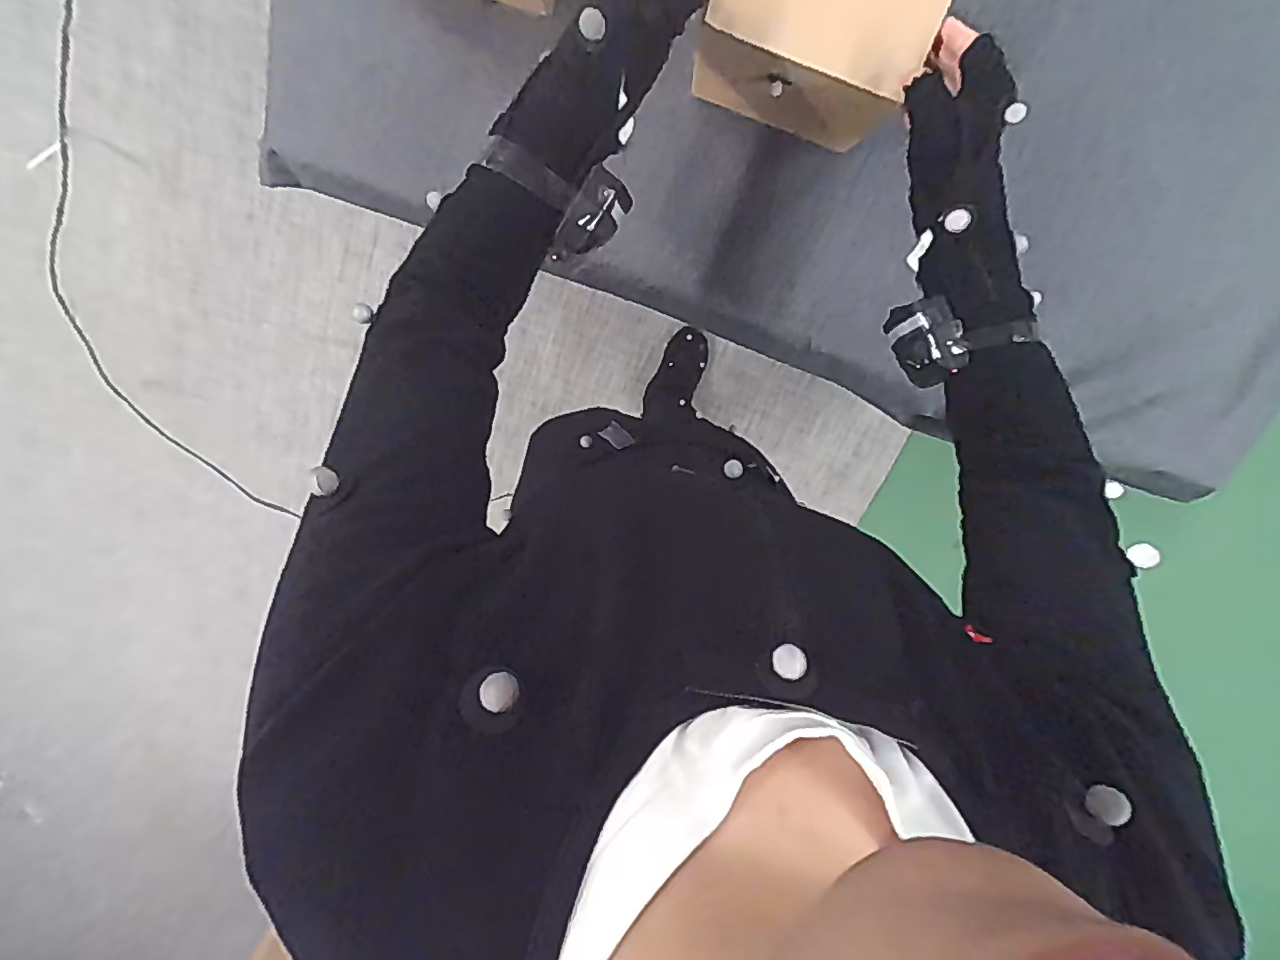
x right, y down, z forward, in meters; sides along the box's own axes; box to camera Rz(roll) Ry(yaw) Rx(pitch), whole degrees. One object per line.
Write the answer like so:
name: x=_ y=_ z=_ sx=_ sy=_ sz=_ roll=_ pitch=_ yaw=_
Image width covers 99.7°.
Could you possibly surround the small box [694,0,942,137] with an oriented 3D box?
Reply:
small box: x=0.154 y=-0.429 z=0.470 sx=0.179 sy=0.176 sz=0.168 roll=18 pitch=111 yaw=-5
